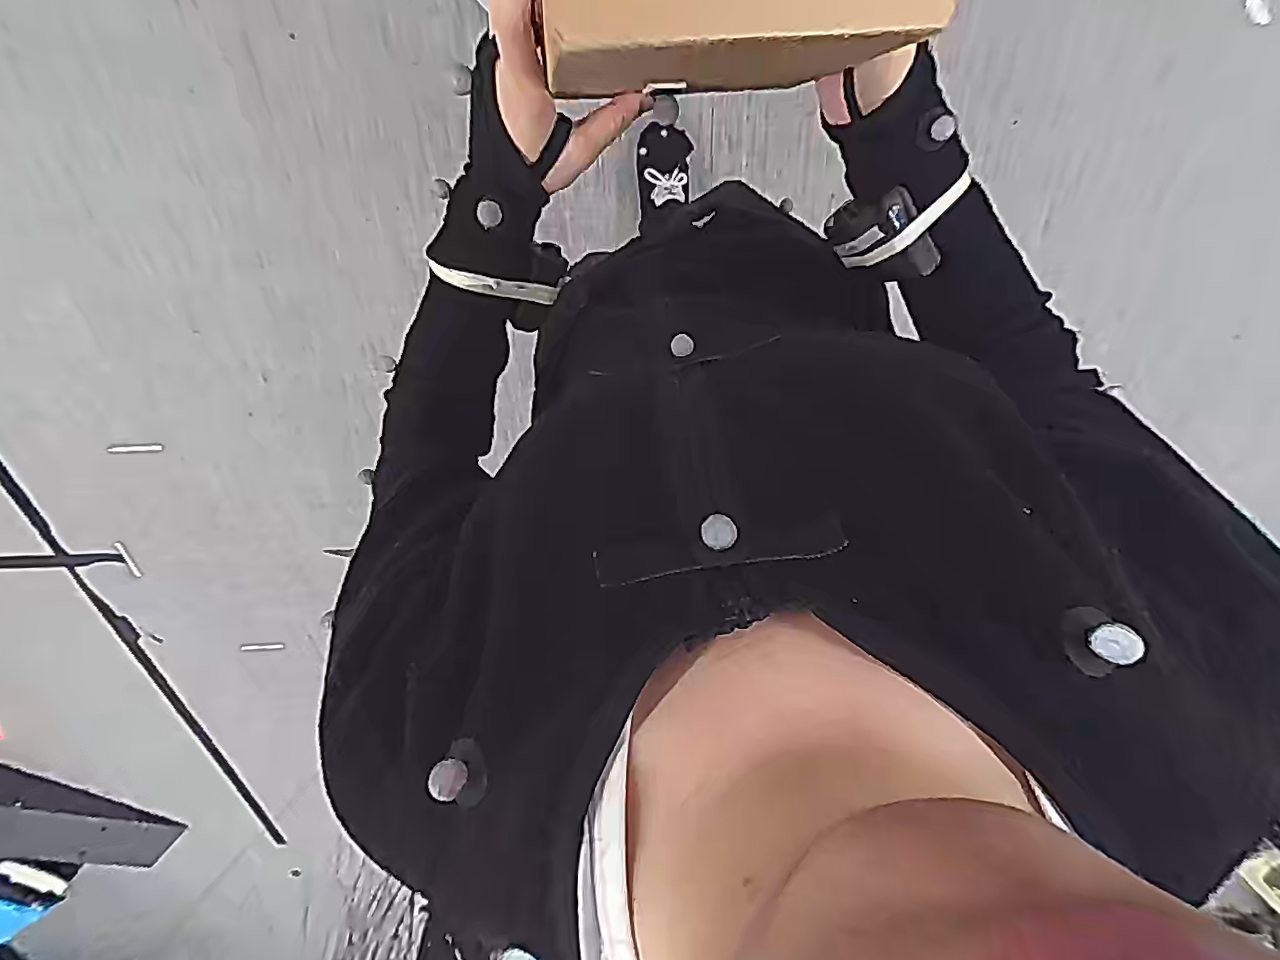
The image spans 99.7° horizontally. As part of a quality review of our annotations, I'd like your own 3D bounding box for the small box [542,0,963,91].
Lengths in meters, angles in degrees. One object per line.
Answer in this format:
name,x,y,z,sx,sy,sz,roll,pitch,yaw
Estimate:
small box,0.032,-0.292,0.236,0.168,0.176,0.179,-8,120,-5
